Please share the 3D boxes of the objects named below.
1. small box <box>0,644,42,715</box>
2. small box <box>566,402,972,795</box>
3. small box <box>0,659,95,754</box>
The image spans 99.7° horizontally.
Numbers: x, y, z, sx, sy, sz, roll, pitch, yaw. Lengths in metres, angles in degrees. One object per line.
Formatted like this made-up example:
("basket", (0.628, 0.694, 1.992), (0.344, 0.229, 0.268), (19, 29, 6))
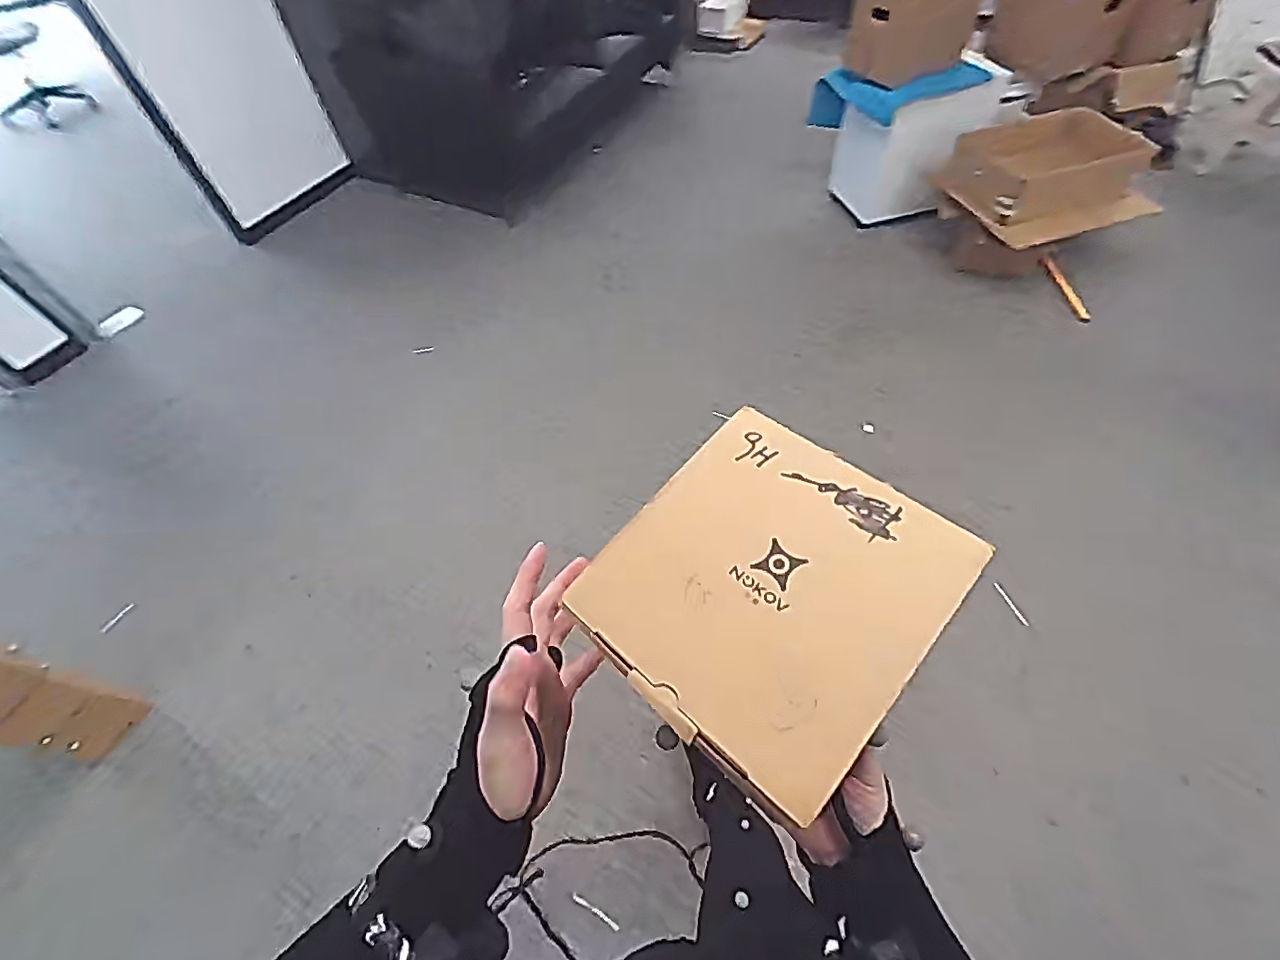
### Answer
("small box", (-1.546, 0.465, 1.219), (0.168, 0.176, 0.179), (22, 58, 18))
("small box", (0.083, 0.087, 0.375), (0.168, 0.176, 0.179), (35, 71, 27))
("small box", (-1.549, 0.562, 1.353), (0.179, 0.176, 0.168), (20, 58, 18))
